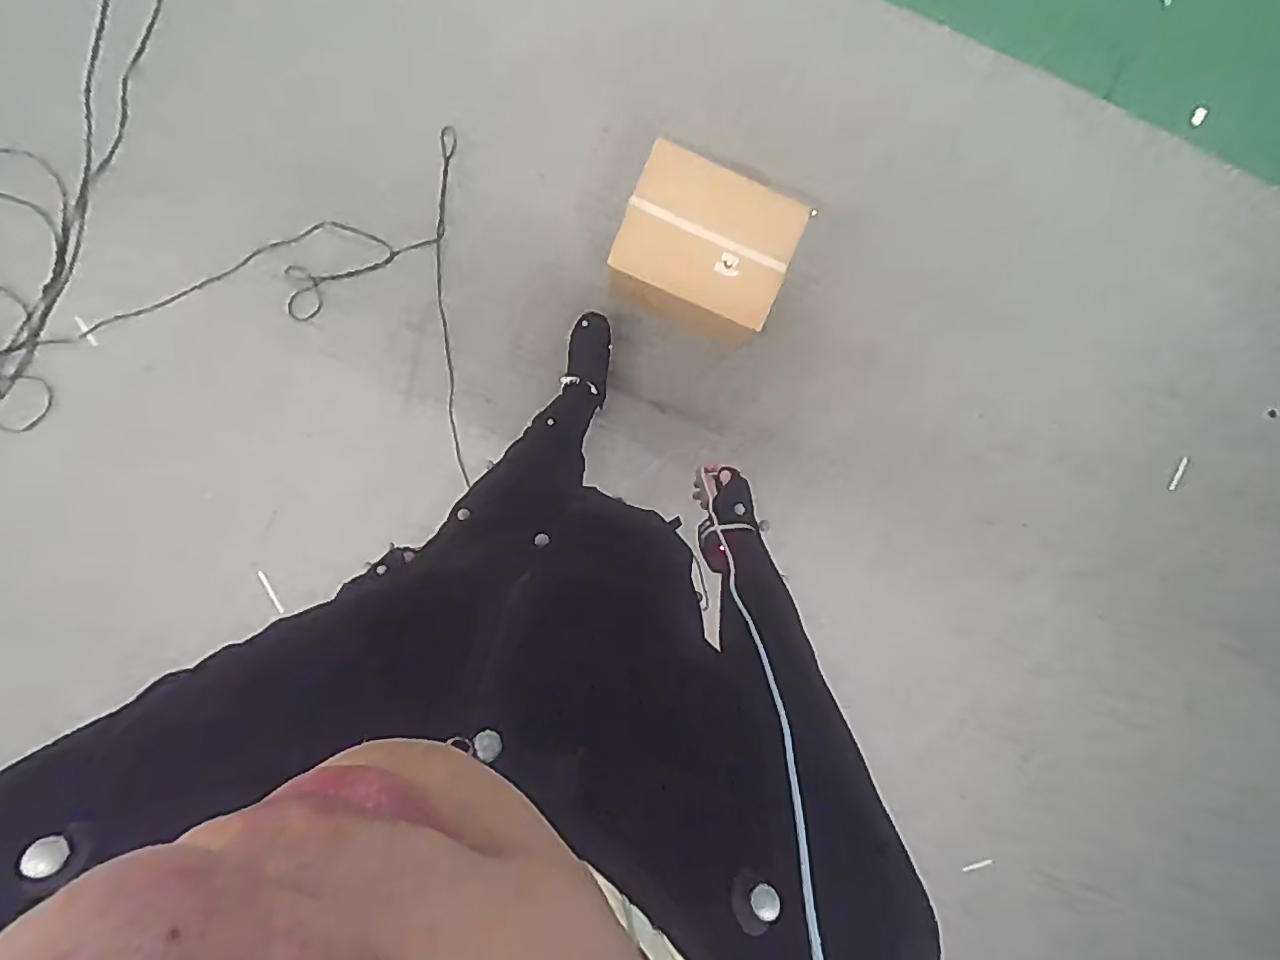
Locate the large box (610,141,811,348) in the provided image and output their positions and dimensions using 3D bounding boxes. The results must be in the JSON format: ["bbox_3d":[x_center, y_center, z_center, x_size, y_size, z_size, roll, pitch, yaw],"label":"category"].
[{"bbox_3d":[0.157,-0.585,1.418,0.408,0.320,0.320,23,94,-4],"label":"large box"}]
